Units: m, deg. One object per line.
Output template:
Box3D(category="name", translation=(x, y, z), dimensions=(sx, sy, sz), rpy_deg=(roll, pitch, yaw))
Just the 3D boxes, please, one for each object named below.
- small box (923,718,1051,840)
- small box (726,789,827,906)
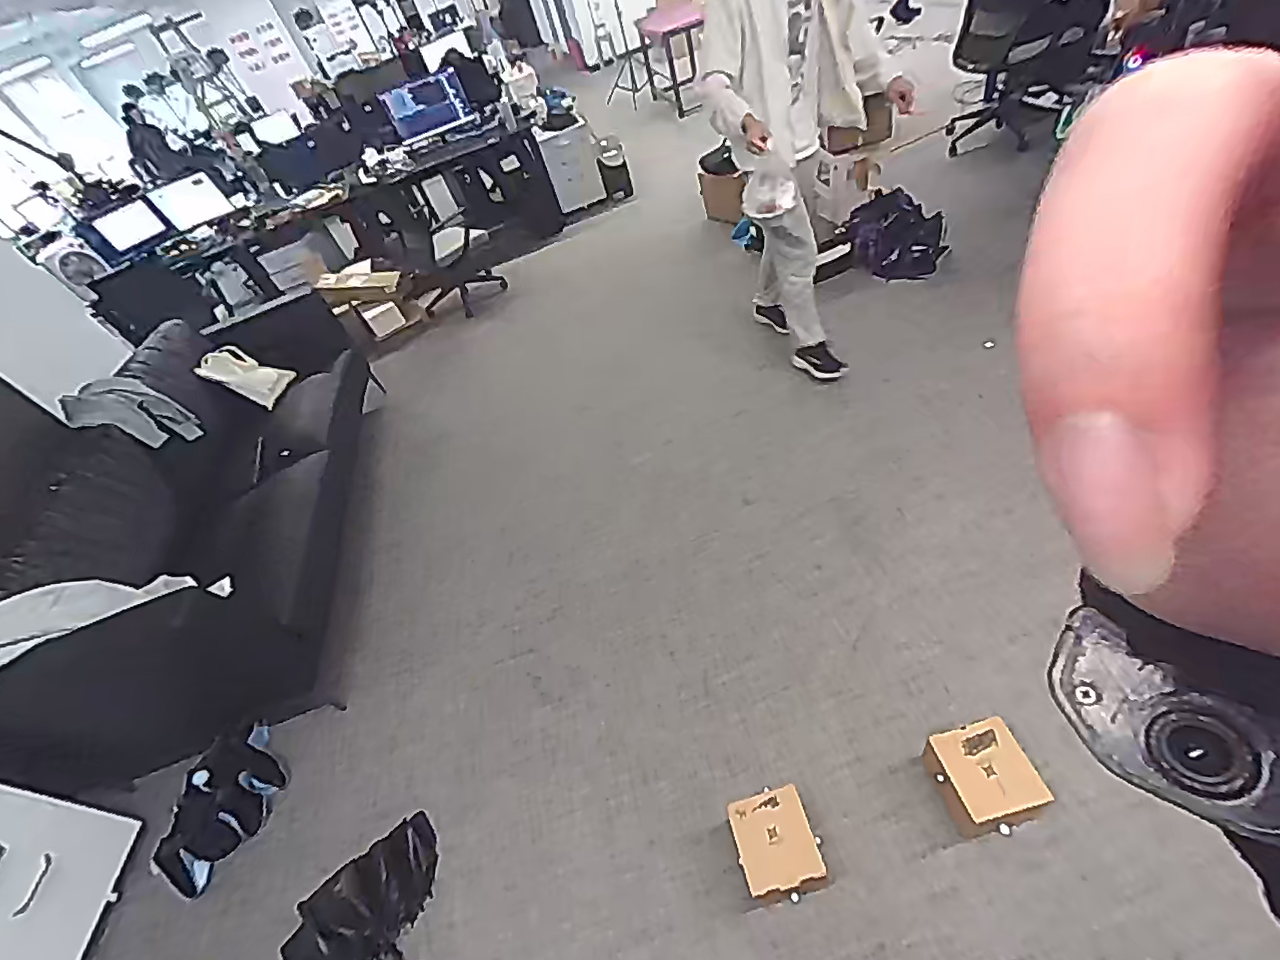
Box3D(category="small box", translation=(0.757, 0.668, 1.206), dimensions=(0.168, 0.176, 0.179), rpy_deg=(-20, 45, 4))
Box3D(category="small box", translation=(0.312, 0.837, 1.223), dimensions=(0.168, 0.176, 0.179), rpy_deg=(-20, 43, 3))
